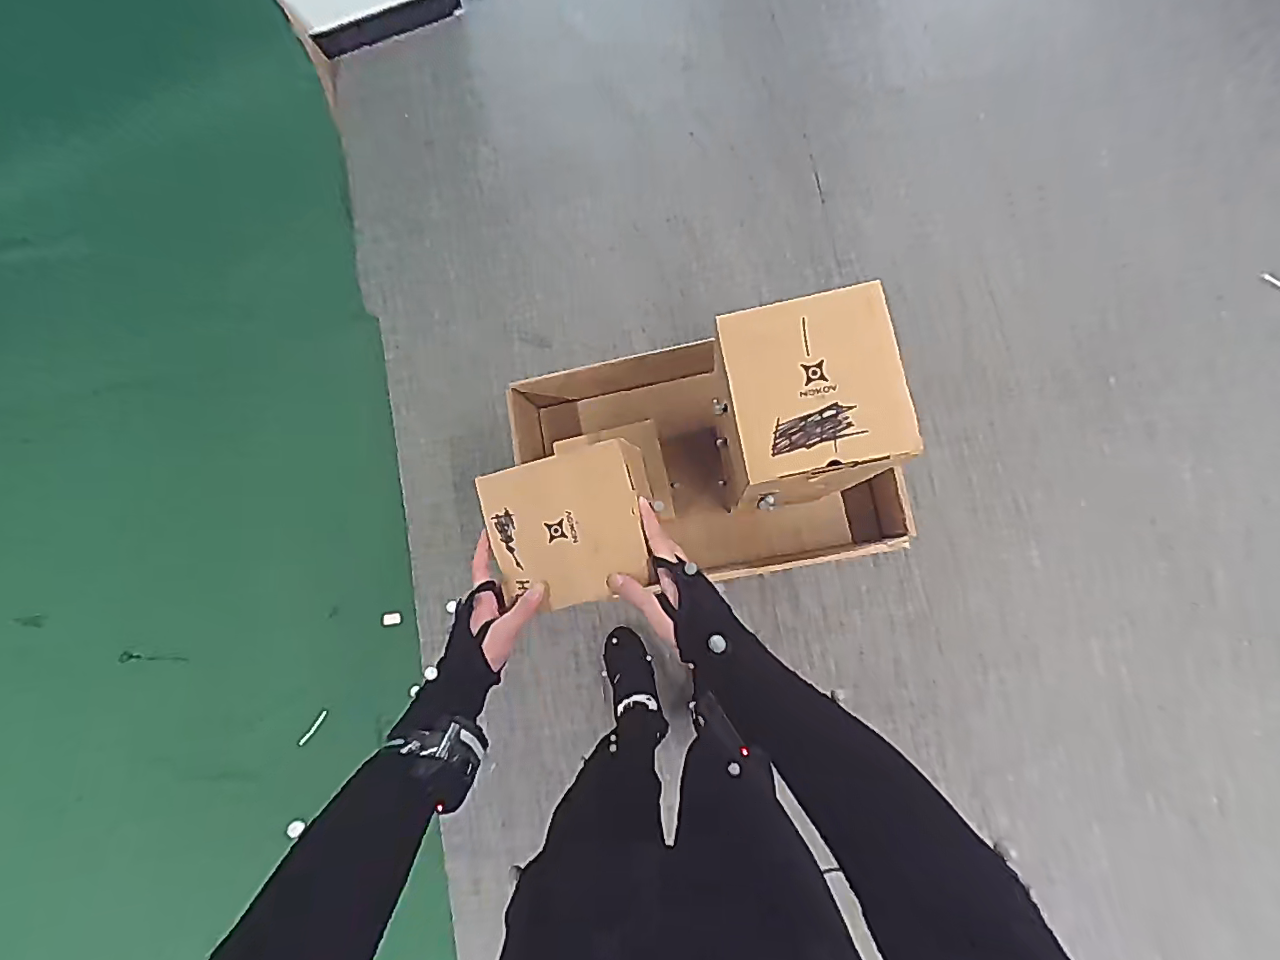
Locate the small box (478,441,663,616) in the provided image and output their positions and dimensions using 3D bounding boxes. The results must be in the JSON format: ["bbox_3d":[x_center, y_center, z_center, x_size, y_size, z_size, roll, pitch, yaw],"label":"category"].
[{"bbox_3d":[-0.072,0.056,0.675,0.179,0.176,0.168,-14,86,7],"label":"small box"}]

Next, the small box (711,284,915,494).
[{"bbox_3d":[0.177,-0.084,0.602,0.168,0.176,0.179,-11,81,6],"label":"small box"}]

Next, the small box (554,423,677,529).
[{"bbox_3d":[-0.036,0.012,0.955,0.179,0.176,0.168,-12,81,5],"label":"small box"}]
